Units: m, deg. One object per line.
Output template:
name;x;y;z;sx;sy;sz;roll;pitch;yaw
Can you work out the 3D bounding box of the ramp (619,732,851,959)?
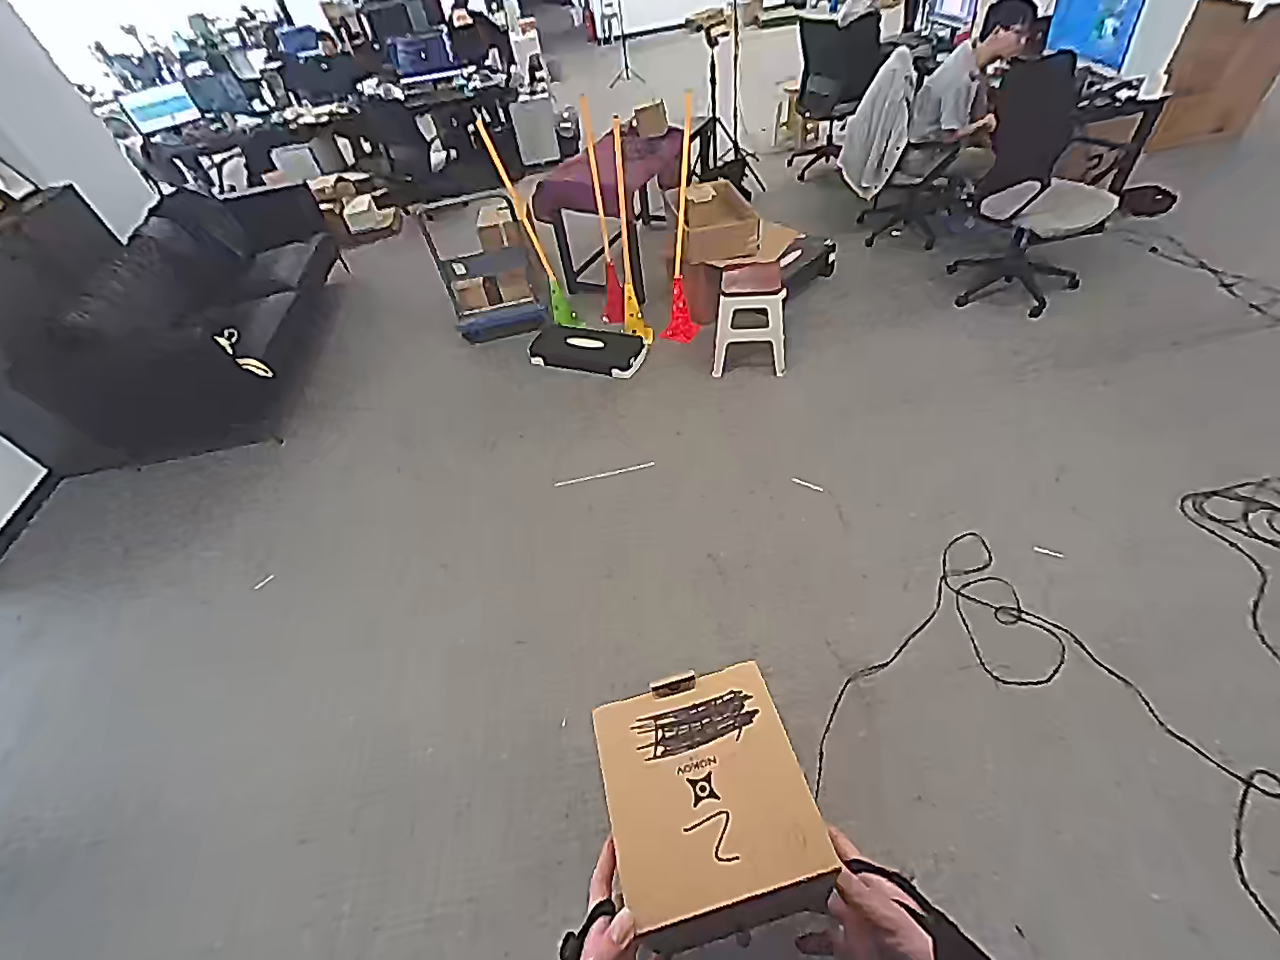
ramp;0.237;1.122;1.279;0.509;0.206;0.991;-14;46;-2
